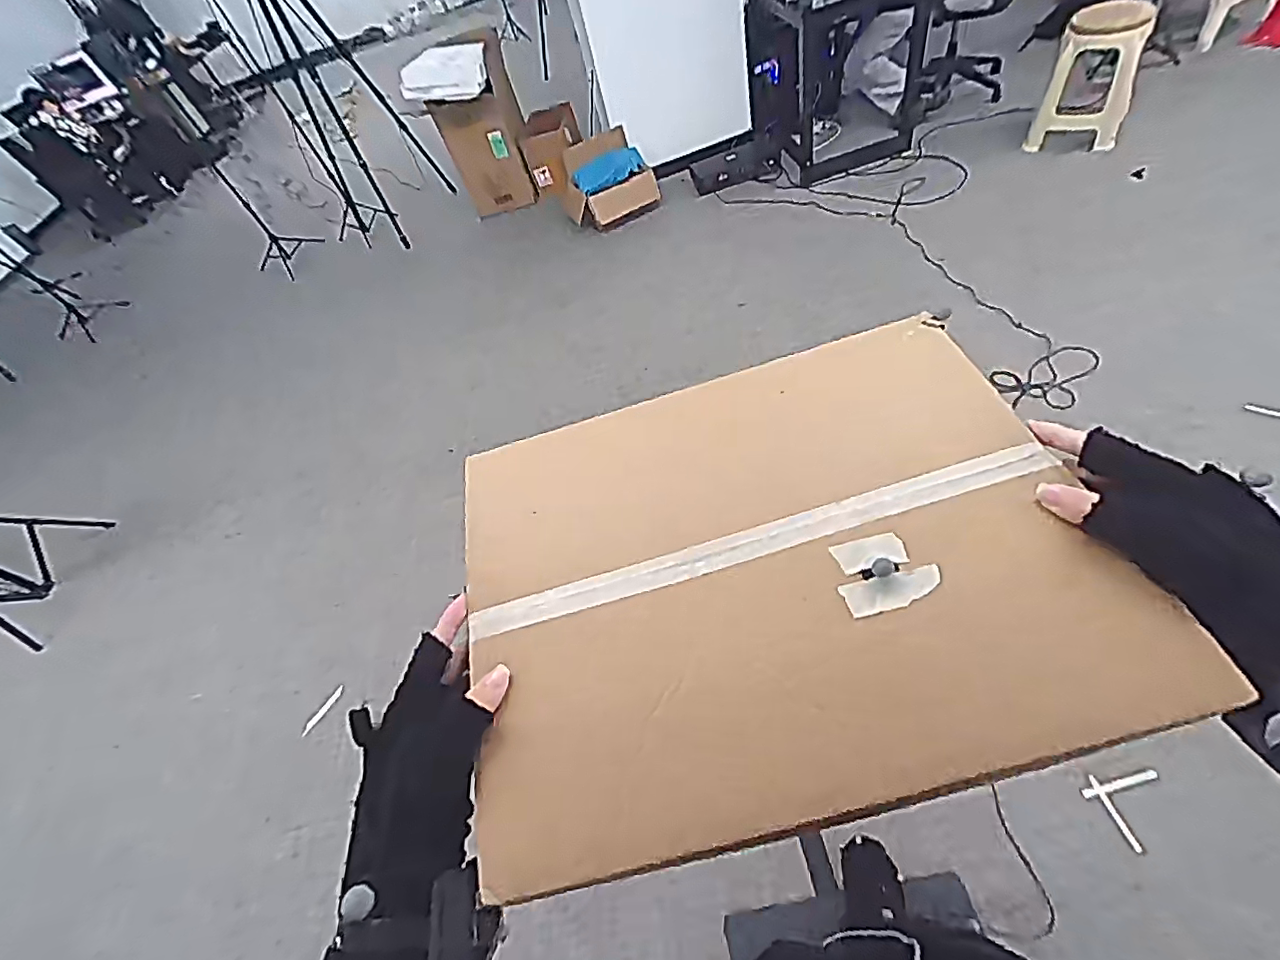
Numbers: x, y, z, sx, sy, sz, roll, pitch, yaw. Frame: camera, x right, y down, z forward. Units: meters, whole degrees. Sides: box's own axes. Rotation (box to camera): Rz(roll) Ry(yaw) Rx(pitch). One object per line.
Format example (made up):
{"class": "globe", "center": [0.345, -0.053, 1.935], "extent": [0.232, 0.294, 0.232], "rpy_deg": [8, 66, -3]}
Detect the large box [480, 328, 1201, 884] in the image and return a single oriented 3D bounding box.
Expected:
{"class": "large box", "center": [0.110, 0.129, 0.501], "extent": [0.408, 0.320, 0.320], "rpy_deg": [-17, 55, 2]}

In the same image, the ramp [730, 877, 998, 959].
{"class": "ramp", "center": [0.467, 1.189, 0.743], "extent": [0.509, 0.206, 0.991], "rpy_deg": [-18, 49, 5]}
